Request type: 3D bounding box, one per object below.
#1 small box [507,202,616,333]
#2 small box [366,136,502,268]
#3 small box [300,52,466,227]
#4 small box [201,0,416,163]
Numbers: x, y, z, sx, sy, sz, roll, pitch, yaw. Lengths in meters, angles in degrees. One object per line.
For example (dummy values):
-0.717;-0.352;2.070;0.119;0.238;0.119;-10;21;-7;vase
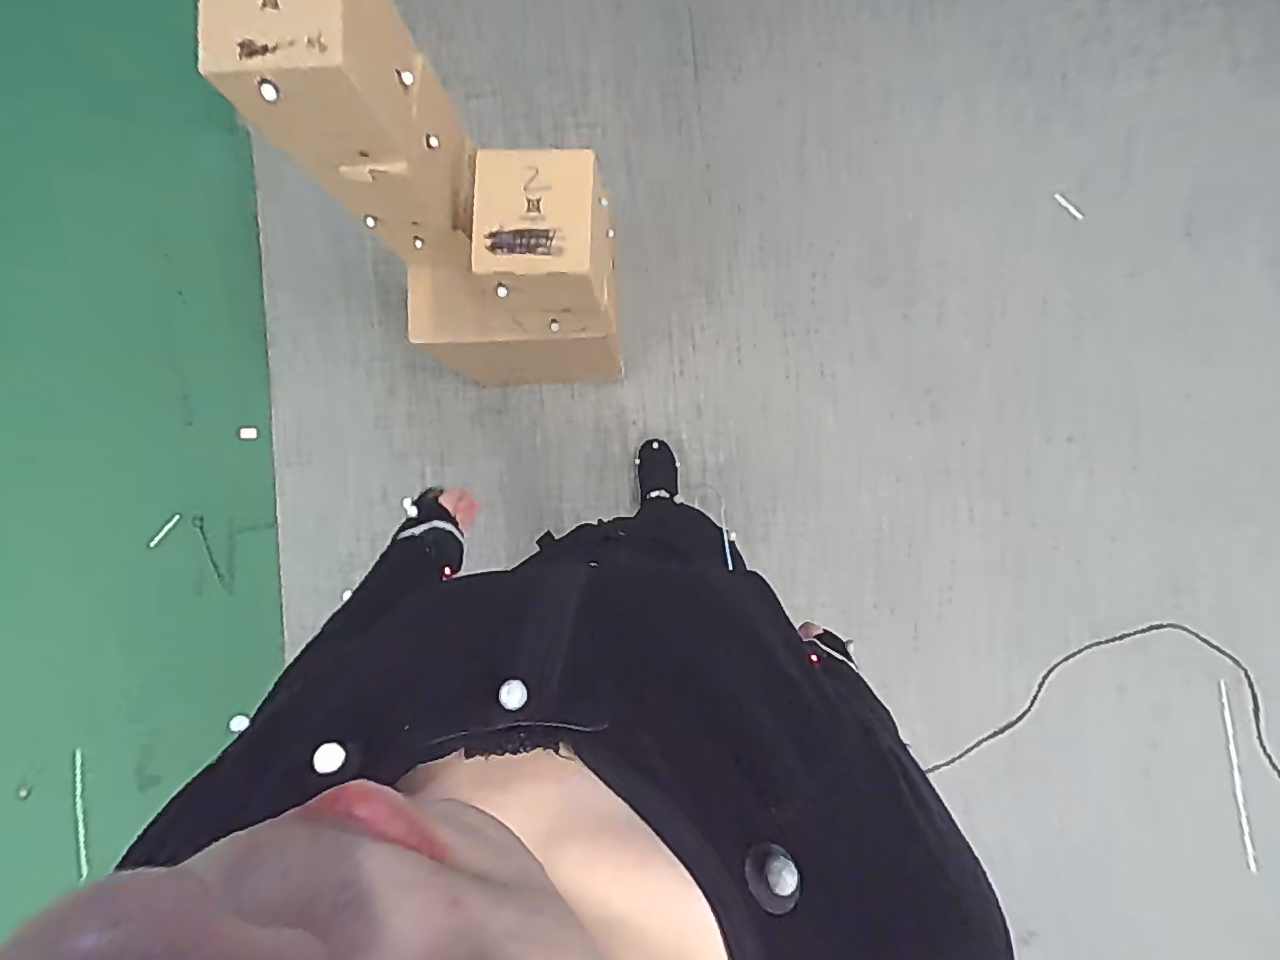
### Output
-0.136;-0.375;0.989;0.168;0.176;0.179;-3;88;2;small box
-0.374;-0.512;1.007;0.179;0.176;0.168;5;88;2;small box
-0.387;-0.521;0.842;0.168;0.176;0.179;7;87;3;small box
-0.398;-0.535;0.678;0.168;0.176;0.179;0;87;4;small box
